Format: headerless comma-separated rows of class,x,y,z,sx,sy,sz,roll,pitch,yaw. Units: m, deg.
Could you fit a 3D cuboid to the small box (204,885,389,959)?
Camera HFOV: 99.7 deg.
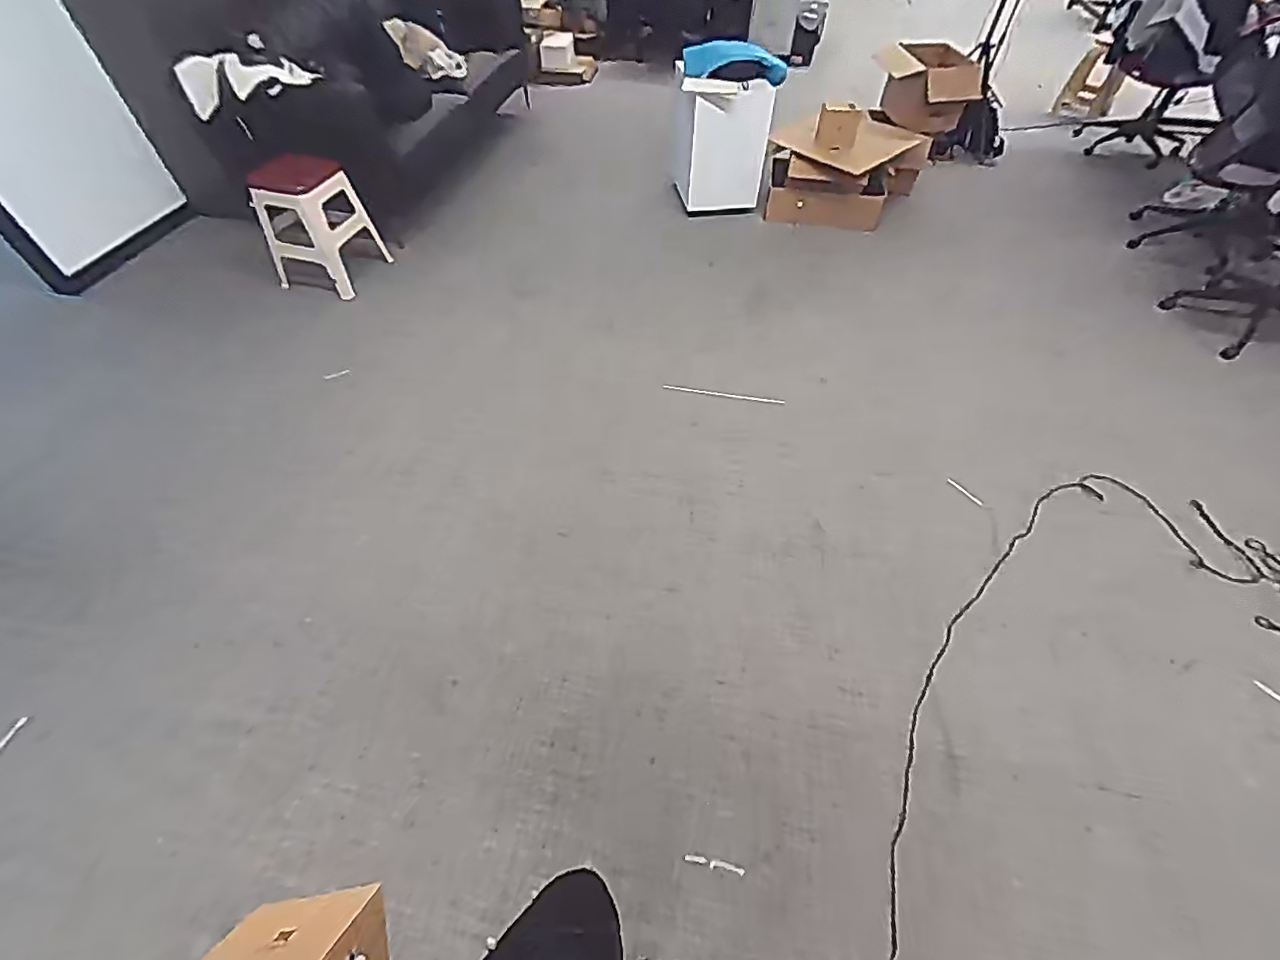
small box,-0.411,0.627,0.633,0.168,0.179,0.176,-9,82,-3
